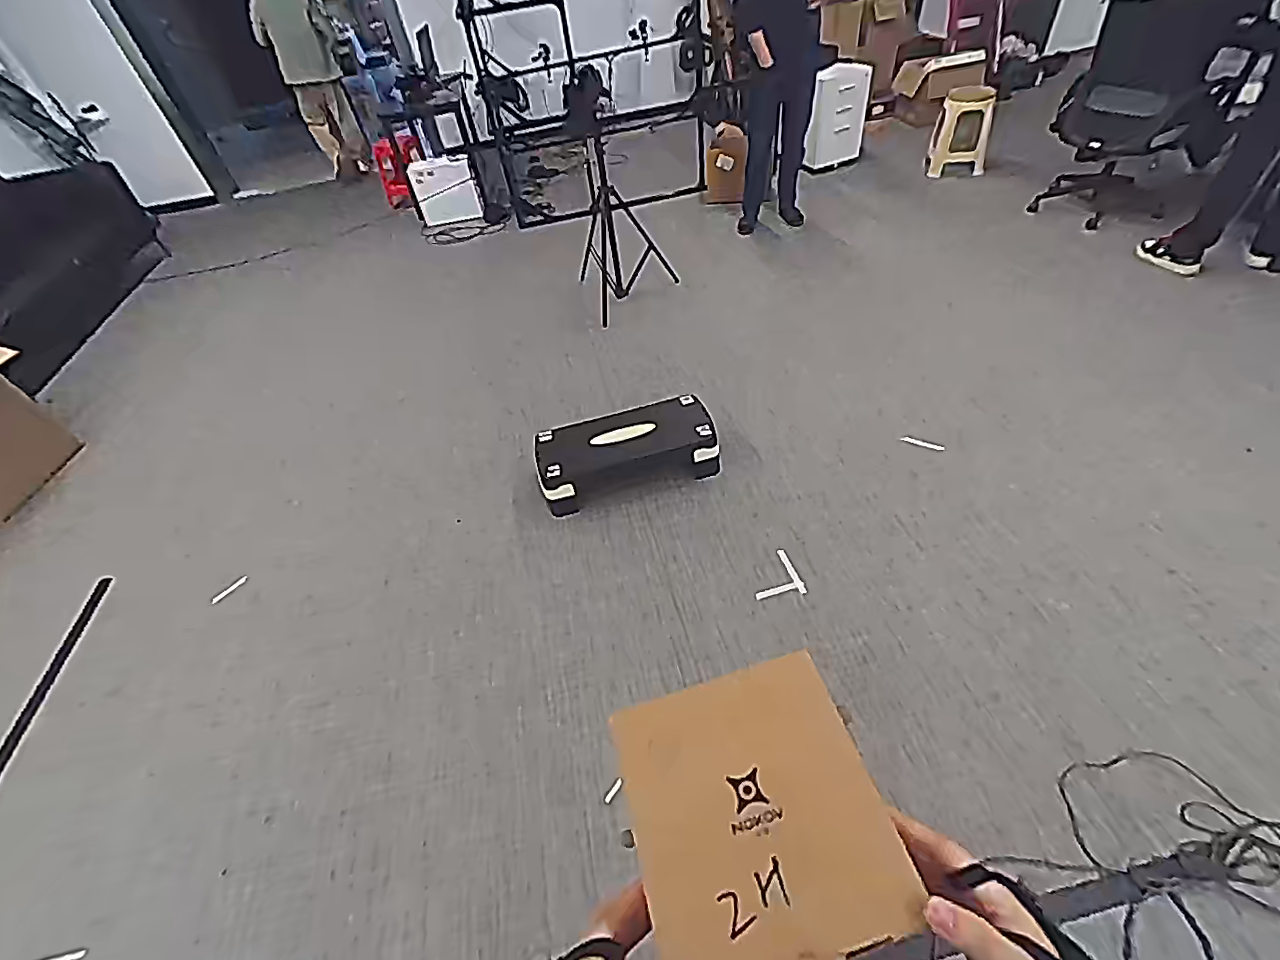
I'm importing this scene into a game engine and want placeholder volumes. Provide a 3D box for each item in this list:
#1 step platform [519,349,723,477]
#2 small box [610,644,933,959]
[{"bbox_3d":[-0.062,-0.234,1.893,0.684,0.204,0.286,-15,45,-6],"label":"step platform"},{"bbox_3d":[0.086,0.263,0.426,0.168,0.176,0.179,-18,50,-2],"label":"small box"}]
